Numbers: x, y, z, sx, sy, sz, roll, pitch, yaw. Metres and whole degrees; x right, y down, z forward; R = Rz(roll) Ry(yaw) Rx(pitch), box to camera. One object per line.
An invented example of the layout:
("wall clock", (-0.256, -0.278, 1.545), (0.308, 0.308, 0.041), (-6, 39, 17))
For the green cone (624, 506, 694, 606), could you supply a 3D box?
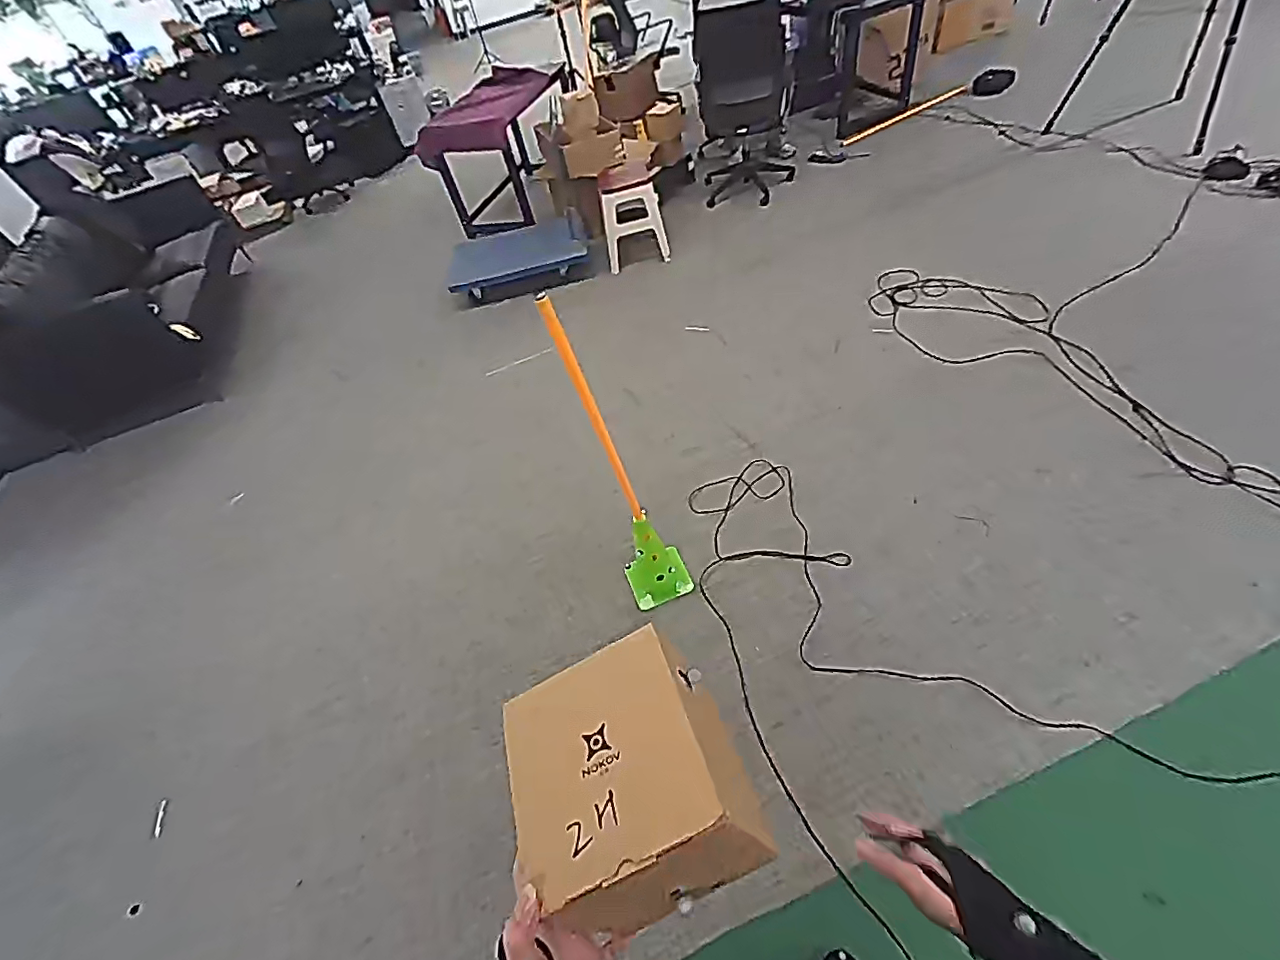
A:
("green cone", (0.033, 0.213, 1.732), (0.202, 0.368, 0.200), (-21, 49, -6))
